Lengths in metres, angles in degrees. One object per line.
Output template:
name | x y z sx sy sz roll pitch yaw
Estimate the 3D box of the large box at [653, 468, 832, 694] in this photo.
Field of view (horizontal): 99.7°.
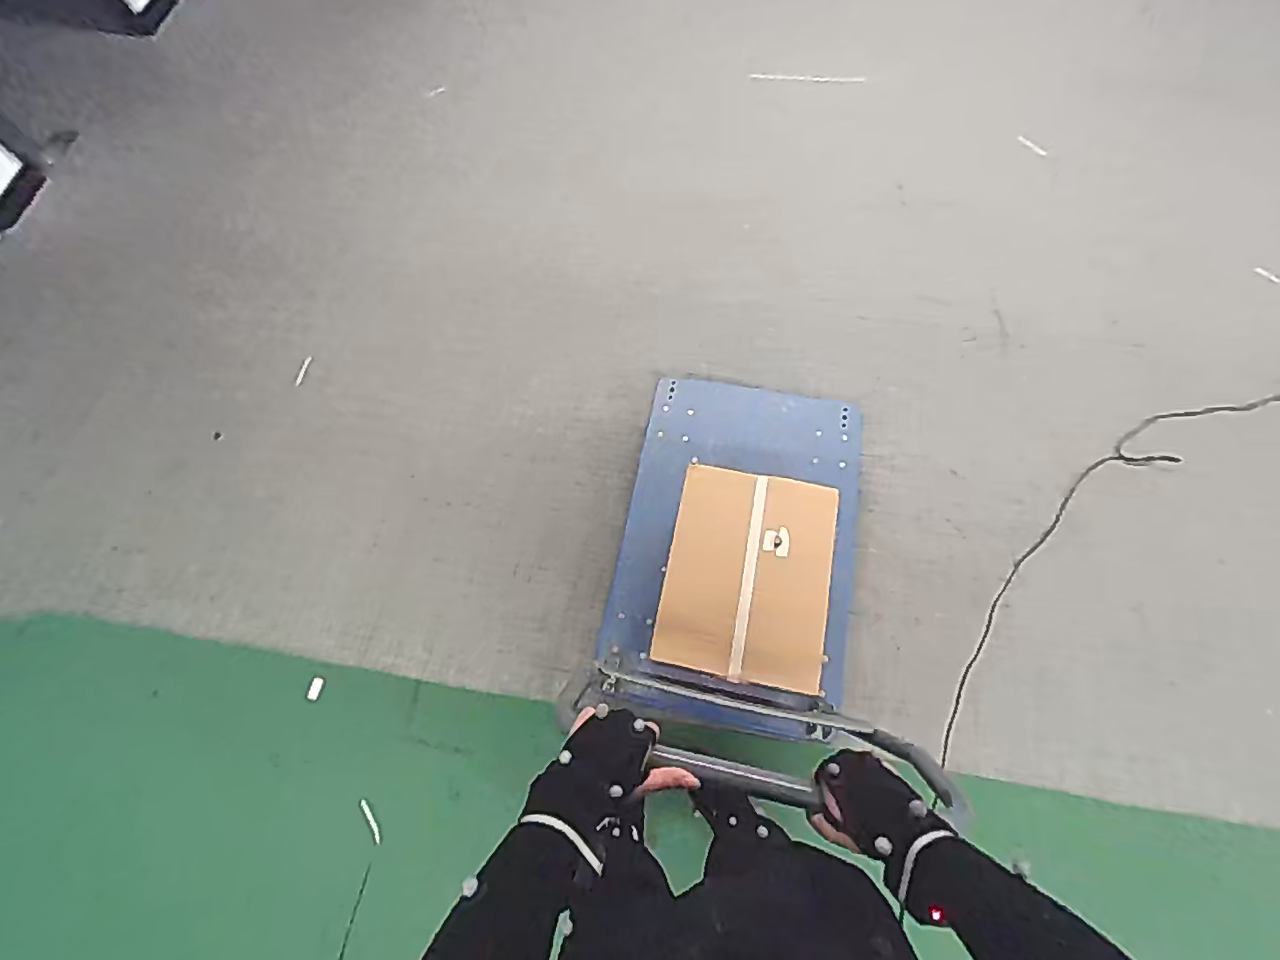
large box | 0.216 0.234 1.190 0.320 0.320 0.408 10 69 6
